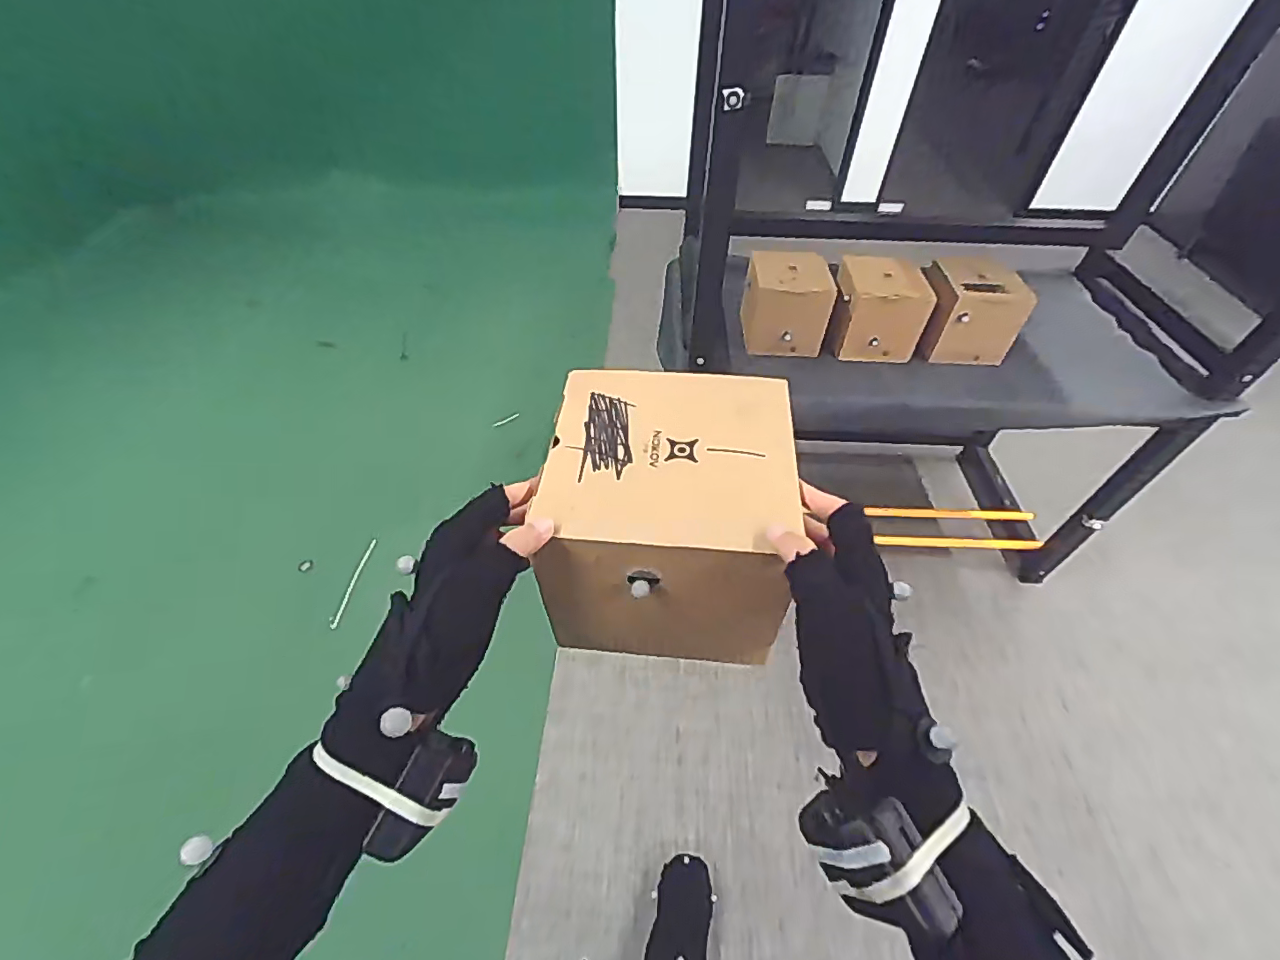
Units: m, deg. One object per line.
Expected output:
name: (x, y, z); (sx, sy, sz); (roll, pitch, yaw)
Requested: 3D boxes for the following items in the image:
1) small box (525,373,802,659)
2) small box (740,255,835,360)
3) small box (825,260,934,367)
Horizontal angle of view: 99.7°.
small box: (0.022, 0.032, 0.443); (0.179, 0.176, 0.168); (4, 49, 4)
small box: (0.332, -0.401, 1.255); (0.168, 0.176, 0.179); (2, 48, 1)
small box: (0.540, -0.385, 1.251); (0.168, 0.176, 0.179); (3, 49, 0)
